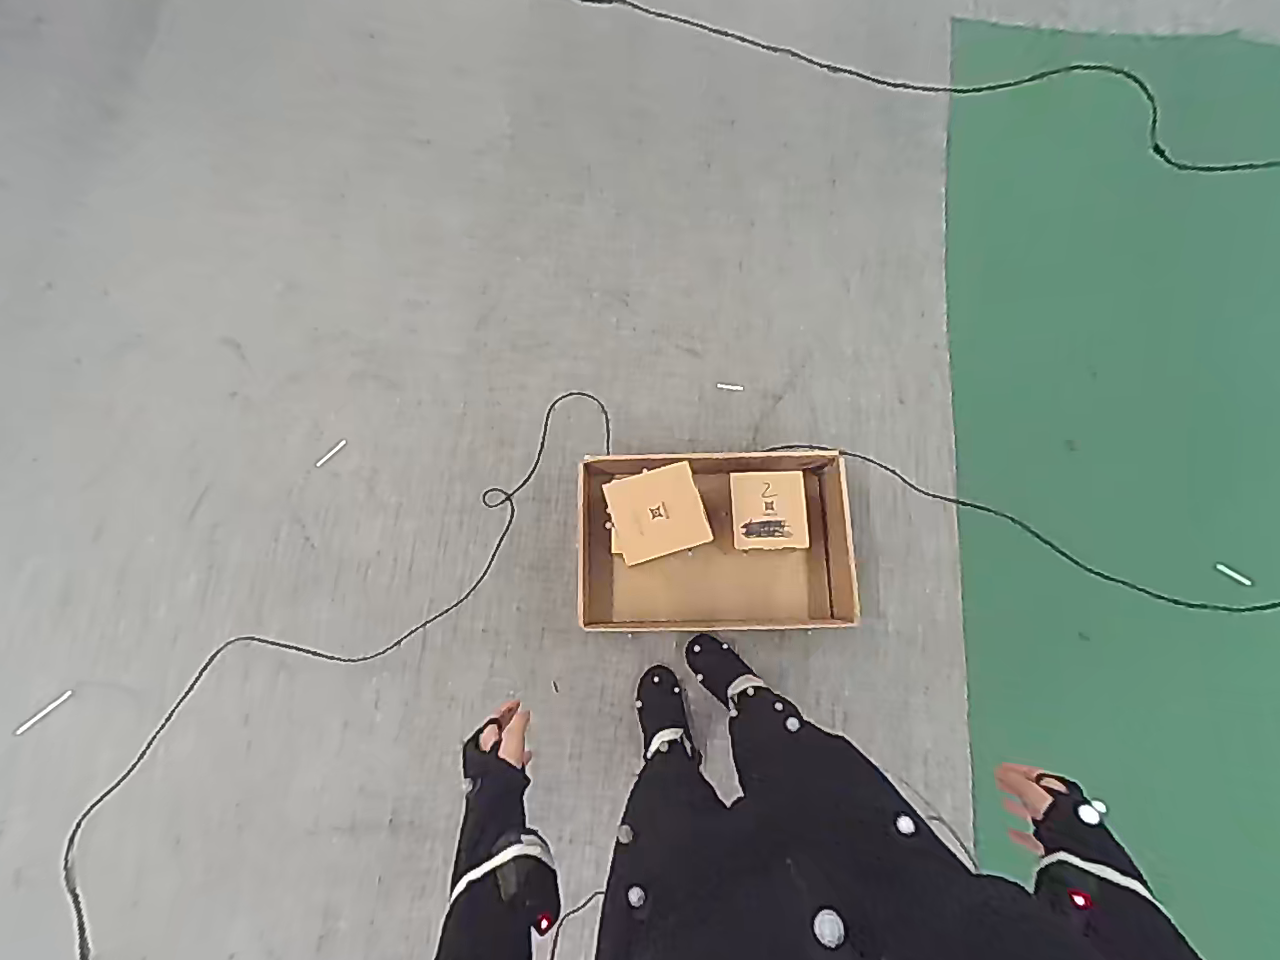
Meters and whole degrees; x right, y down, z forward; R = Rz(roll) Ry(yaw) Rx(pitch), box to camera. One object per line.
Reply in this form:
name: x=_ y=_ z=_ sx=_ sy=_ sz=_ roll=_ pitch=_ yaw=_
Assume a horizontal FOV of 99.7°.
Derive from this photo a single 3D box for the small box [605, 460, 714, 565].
small box: x=0.034 y=0.073 z=1.112 sx=0.179 sy=0.176 sz=0.168 roll=-16 pitch=79 yaw=-4
